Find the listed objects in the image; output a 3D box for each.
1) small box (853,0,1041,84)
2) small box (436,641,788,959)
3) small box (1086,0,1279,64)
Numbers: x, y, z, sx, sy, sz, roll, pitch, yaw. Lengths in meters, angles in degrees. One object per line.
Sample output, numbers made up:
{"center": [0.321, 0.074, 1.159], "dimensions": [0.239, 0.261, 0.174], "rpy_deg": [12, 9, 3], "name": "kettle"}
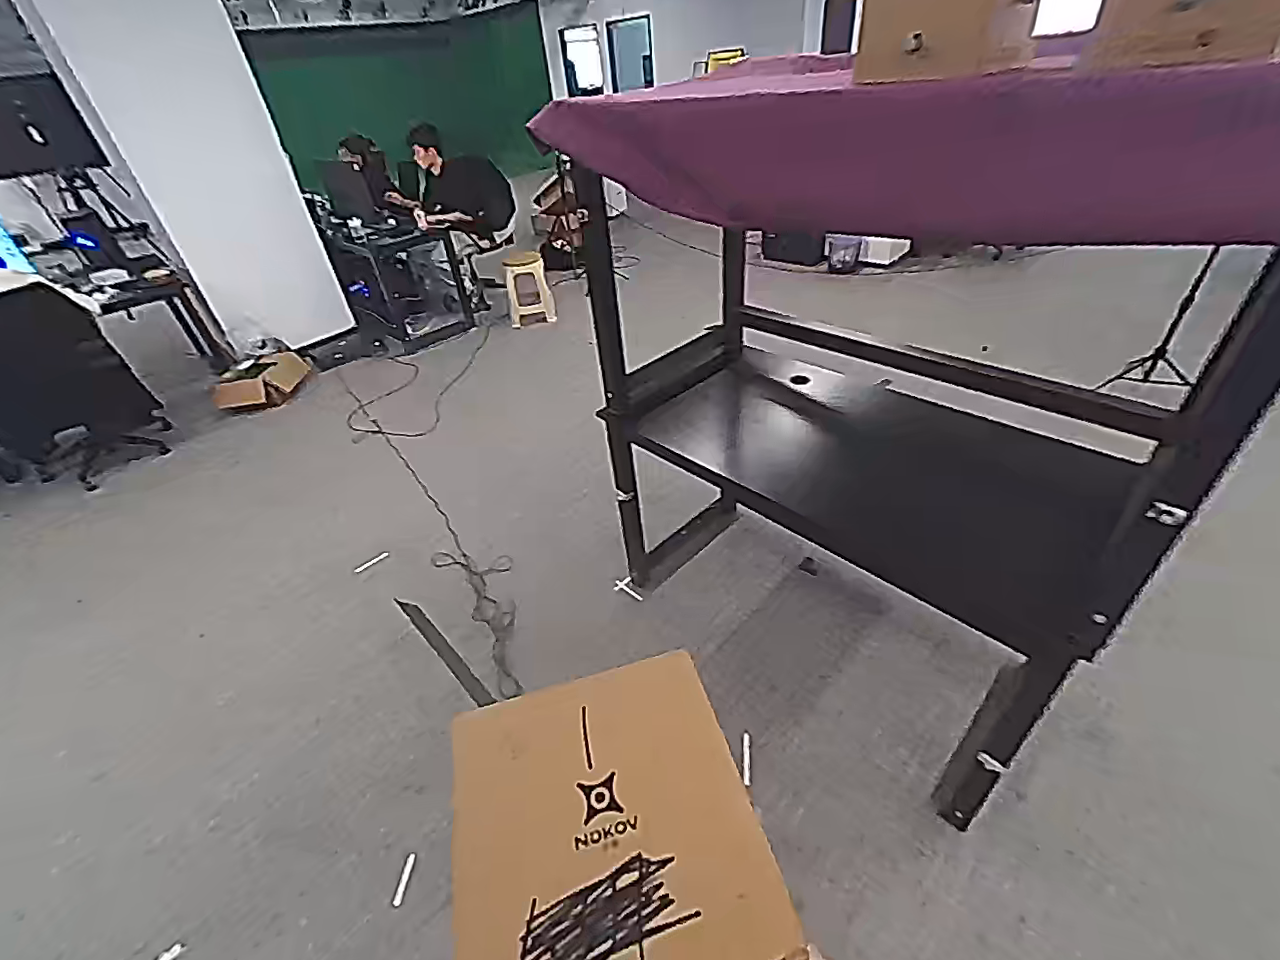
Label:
{"center": [0.410, -0.635, 0.710], "dimensions": [0.168, 0.176, 0.179], "rpy_deg": [-30, 44, -29], "name": "small box"}
{"center": [-0.023, 0.244, 0.350], "dimensions": [0.168, 0.176, 0.179], "rpy_deg": [-14, 40, -10], "name": "small box"}
{"center": [0.599, -0.534, 0.547], "dimensions": [0.179, 0.176, 0.168], "rpy_deg": [-31, 43, -29], "name": "small box"}
